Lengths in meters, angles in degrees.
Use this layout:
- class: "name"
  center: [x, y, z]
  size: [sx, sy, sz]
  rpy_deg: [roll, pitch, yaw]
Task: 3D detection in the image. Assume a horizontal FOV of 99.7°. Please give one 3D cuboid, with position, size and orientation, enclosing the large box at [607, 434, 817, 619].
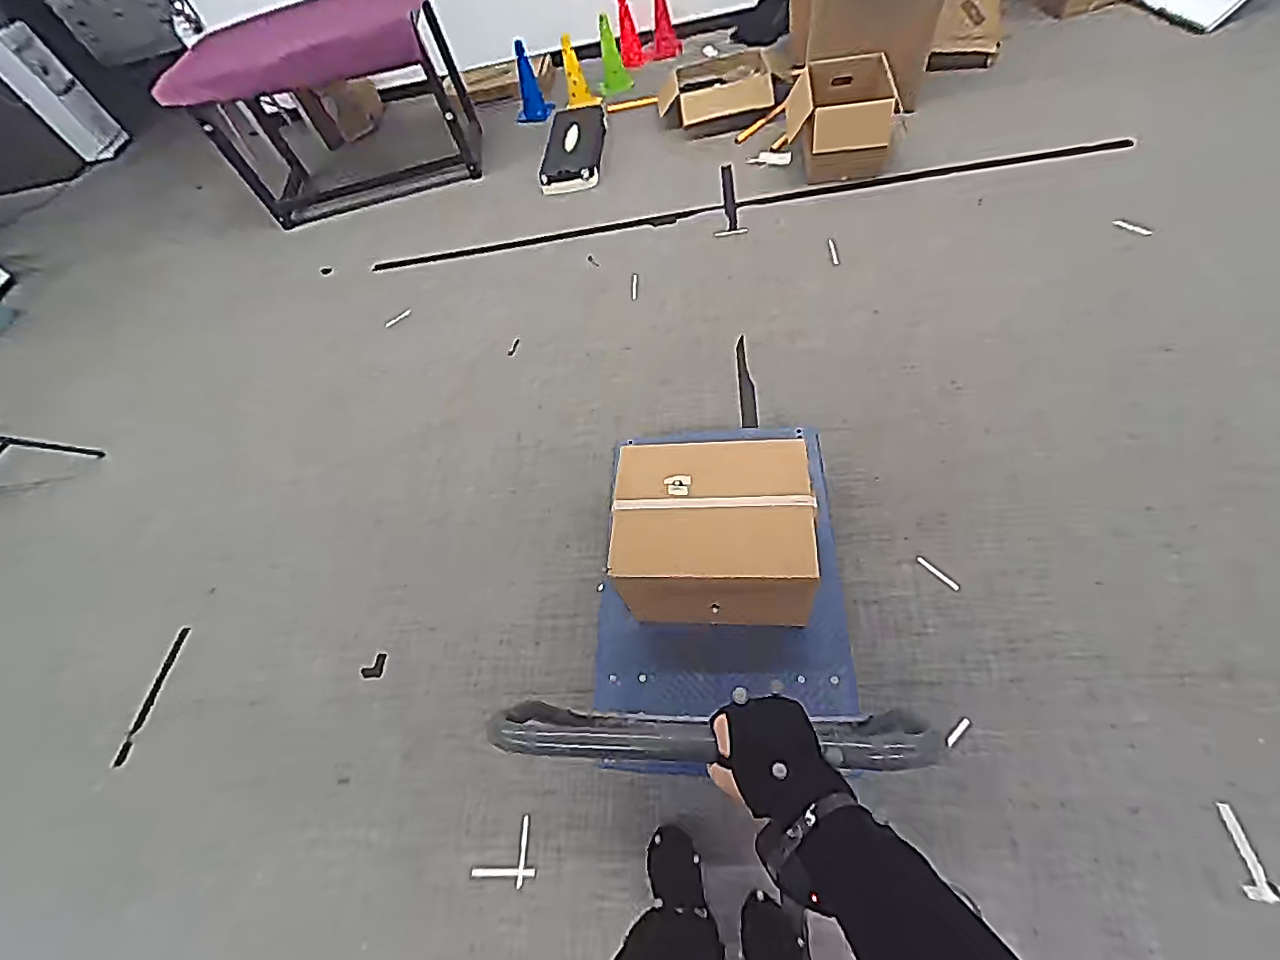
- class: "large box"
  center: [0.166, 0.122, 1.220]
  size: [0.408, 0.320, 0.320]
  rpy_deg: [-3, 58, 12]
